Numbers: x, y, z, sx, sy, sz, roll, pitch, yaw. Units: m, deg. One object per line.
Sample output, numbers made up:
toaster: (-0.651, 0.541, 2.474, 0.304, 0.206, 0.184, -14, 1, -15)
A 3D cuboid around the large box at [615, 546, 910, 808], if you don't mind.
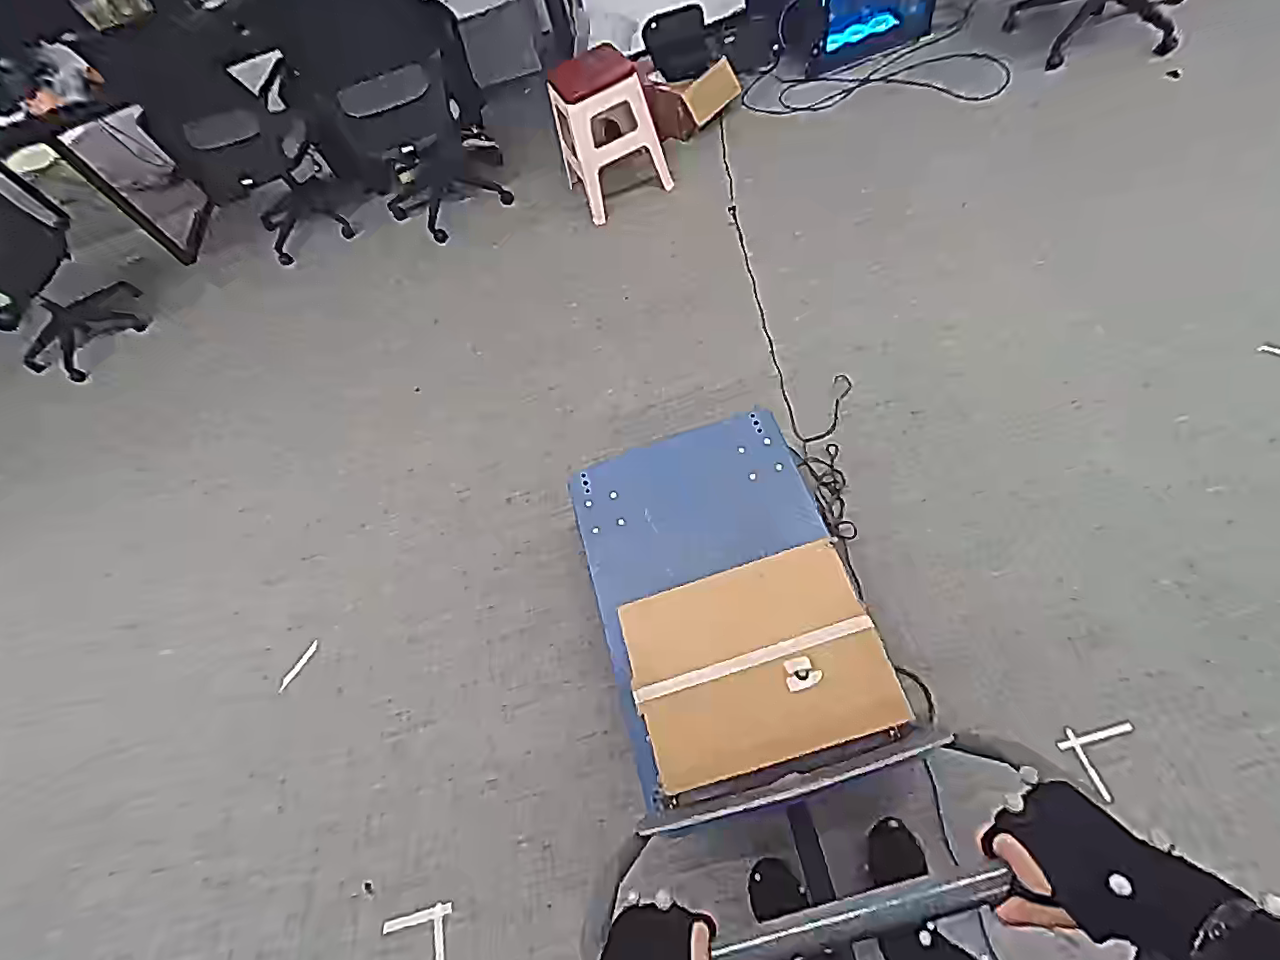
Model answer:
large box: (0.209, 0.373, 1.020, 0.408, 0.320, 0.320, -19, 64, 2)
